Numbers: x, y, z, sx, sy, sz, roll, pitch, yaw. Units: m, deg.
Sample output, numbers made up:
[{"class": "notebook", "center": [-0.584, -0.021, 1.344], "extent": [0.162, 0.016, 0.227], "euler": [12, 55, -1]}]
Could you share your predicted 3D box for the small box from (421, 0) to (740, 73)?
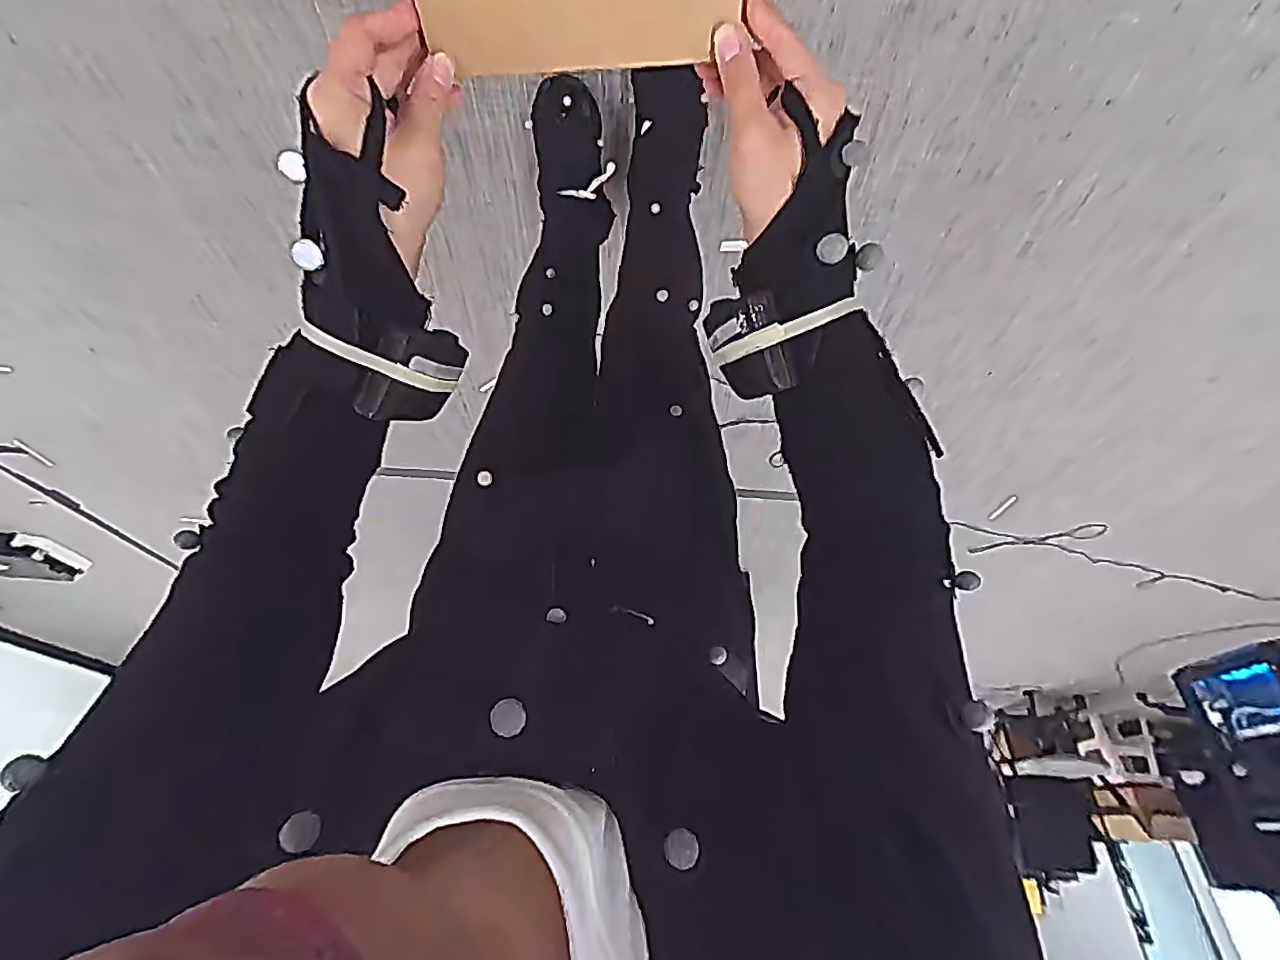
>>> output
[{"class": "small box", "center": [-0.033, -0.342, 0.276], "extent": [0.168, 0.176, 0.179], "euler": [-3, 142, 1]}]
